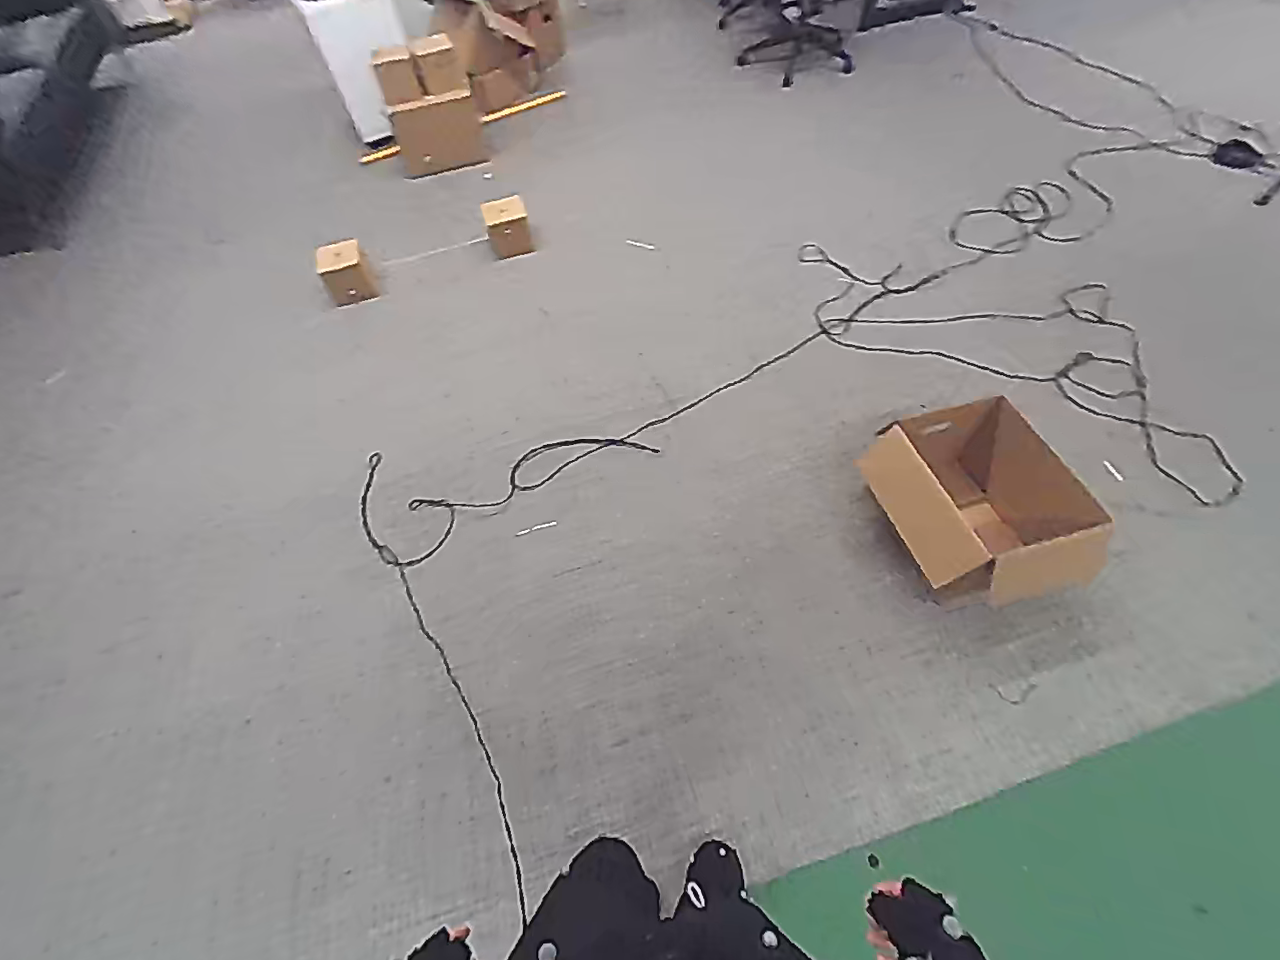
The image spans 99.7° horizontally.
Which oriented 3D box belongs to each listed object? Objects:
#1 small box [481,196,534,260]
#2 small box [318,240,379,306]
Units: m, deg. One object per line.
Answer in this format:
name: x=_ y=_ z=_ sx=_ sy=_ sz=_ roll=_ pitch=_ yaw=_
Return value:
small box: x=-0.561 y=-1.077 z=2.316 sx=0.179 sy=0.176 sz=0.168 roll=-18 pitch=59 yaw=-6
small box: x=-1.203 y=-0.853 z=2.234 sx=0.168 sy=0.176 sz=0.179 roll=-18 pitch=59 yaw=-6
